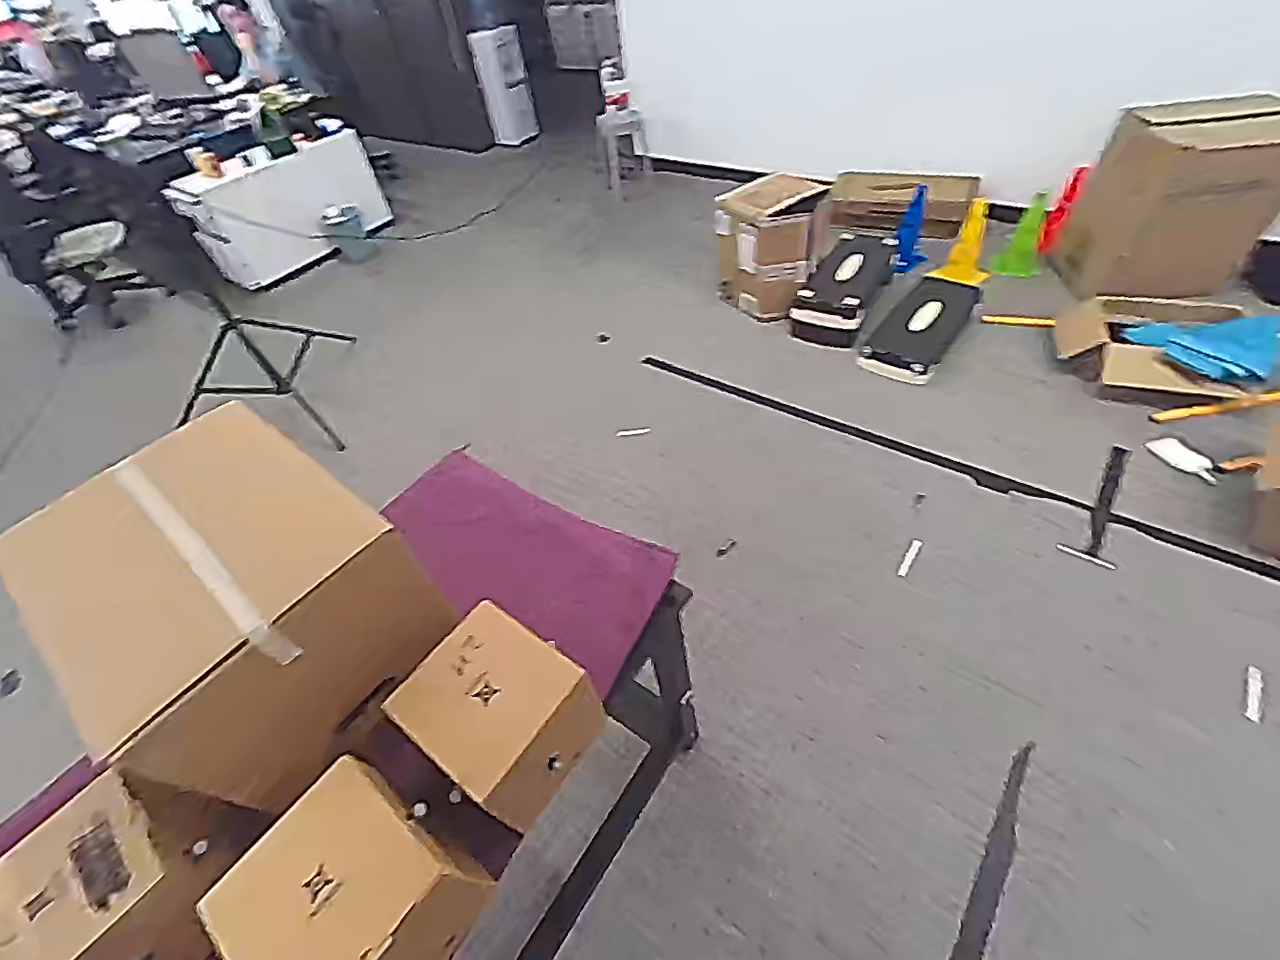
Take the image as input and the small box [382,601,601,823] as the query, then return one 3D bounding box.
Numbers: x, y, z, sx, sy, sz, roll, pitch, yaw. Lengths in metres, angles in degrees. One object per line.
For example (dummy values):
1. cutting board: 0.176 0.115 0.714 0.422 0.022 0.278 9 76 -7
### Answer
1. small box: -0.169 0.290 0.671 0.179 0.176 0.168 25 56 29
